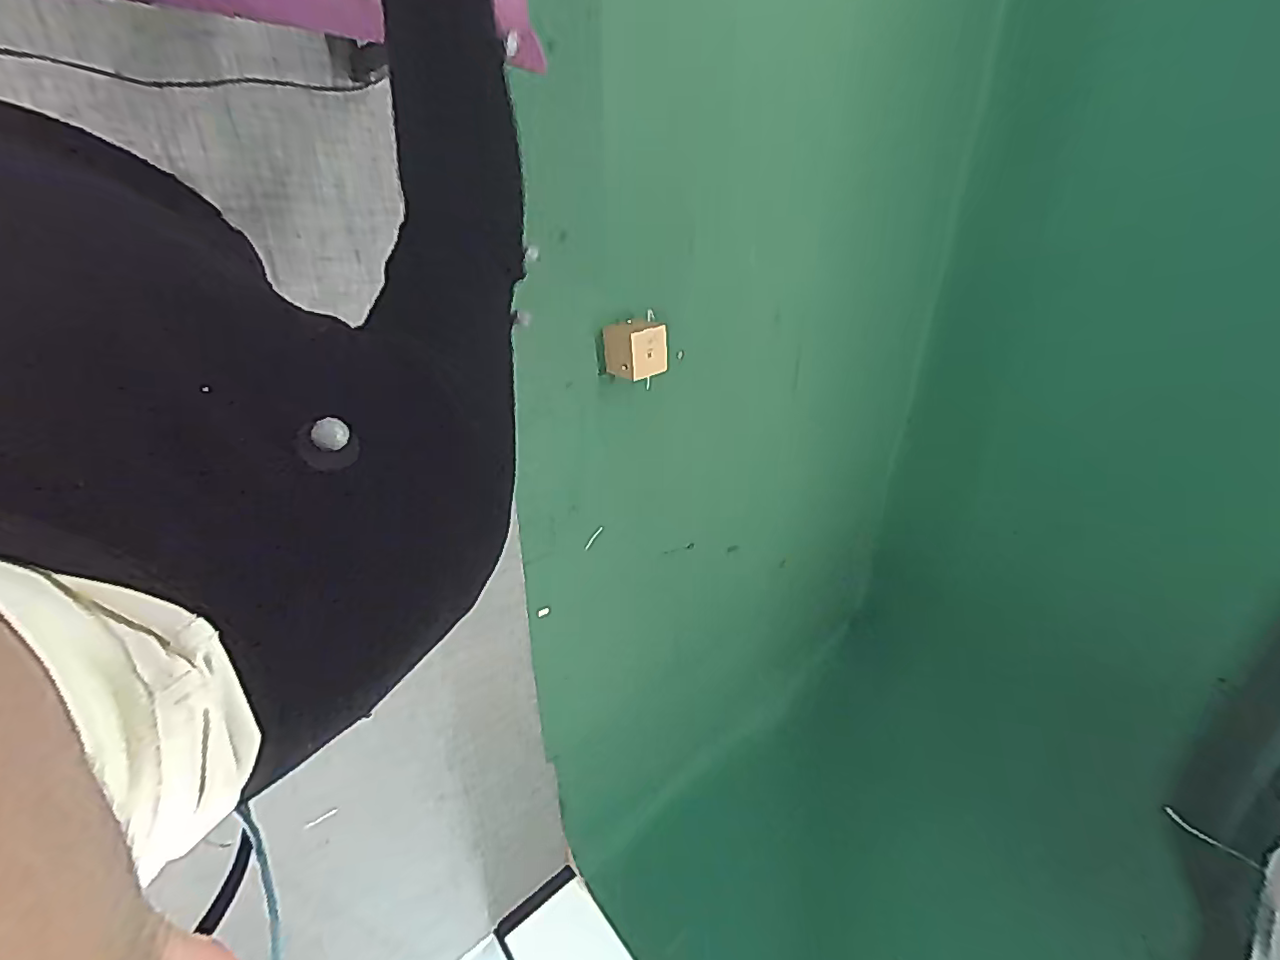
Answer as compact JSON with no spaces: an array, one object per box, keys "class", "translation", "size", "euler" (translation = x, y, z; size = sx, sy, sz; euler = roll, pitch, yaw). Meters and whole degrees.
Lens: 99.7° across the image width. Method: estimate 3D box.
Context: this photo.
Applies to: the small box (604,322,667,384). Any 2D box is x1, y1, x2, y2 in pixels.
[{"class":"small box","translation":[-0.018,-0.476,2.005],"size":[0.168,0.176,0.179],"euler":[-25,125,-33]}]
